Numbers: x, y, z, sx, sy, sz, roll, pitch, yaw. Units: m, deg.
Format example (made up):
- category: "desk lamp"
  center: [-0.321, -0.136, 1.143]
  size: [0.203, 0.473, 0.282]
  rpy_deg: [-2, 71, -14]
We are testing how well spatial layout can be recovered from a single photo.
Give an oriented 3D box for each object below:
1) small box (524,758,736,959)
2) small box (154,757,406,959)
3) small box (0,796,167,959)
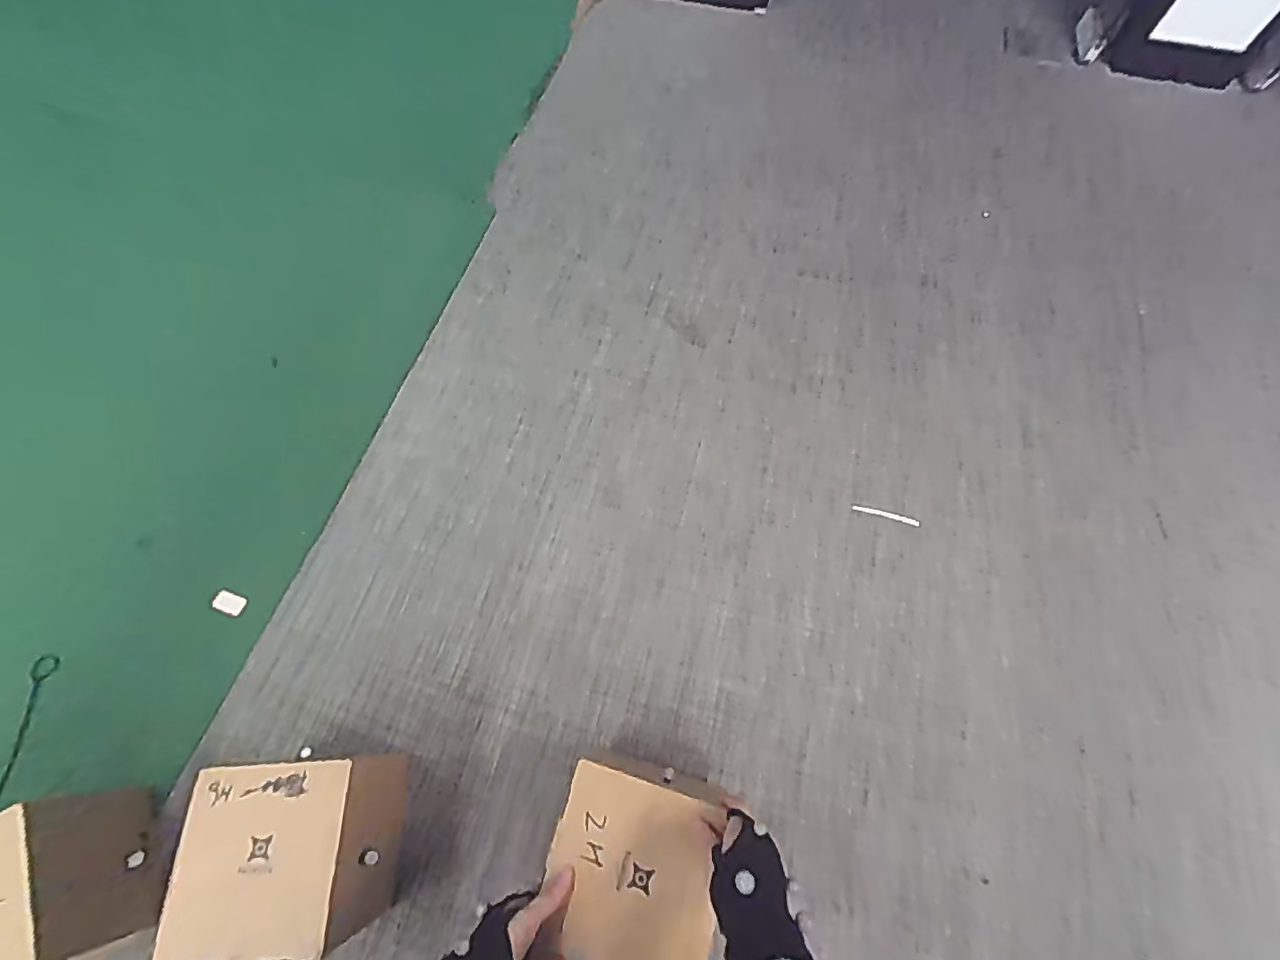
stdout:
- category: "small box"
  center: [-0.002, 0.427, 0.608]
  size: [0.179, 0.176, 0.168]
  rpy_deg: [14, 68, 10]
- category: "small box"
  center: [-0.391, 0.426, 0.626]
  size: [0.168, 0.176, 0.179]
  rpy_deg: [-2, 65, -2]
- category: "small box"
  center: [-0.684, 0.480, 0.597]
  size: [0.179, 0.176, 0.168]
  rpy_deg: [-26, 68, -13]
